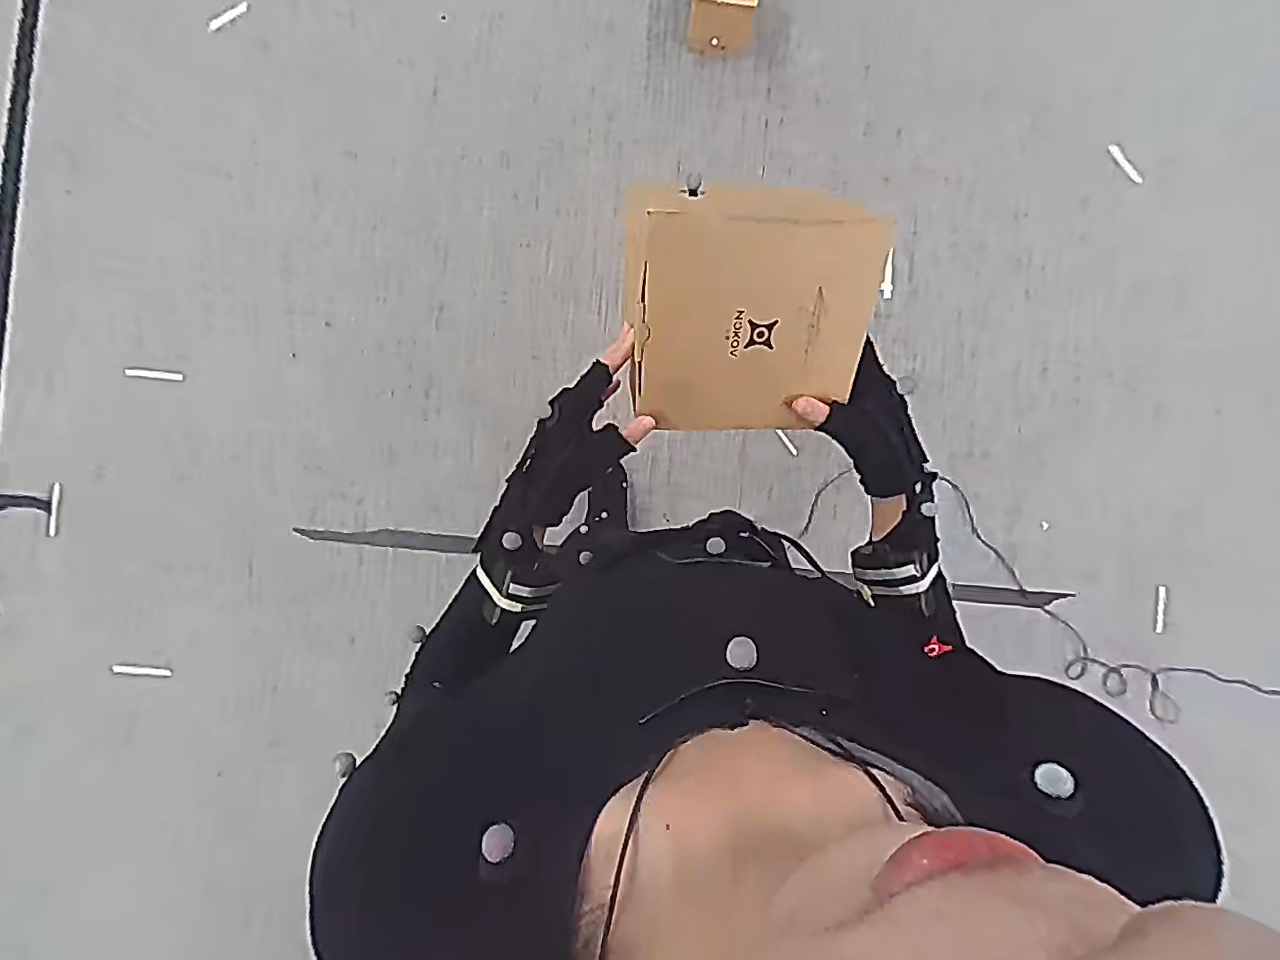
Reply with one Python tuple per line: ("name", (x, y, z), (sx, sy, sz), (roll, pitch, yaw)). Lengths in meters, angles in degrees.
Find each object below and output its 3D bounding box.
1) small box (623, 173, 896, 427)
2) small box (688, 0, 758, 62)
("small box", (0.077, -0.159, 0.468), (0.179, 0.176, 0.168), (-1, 127, -6))
("small box", (0.229, -1.308, 1.485), (0.168, 0.176, 0.179), (7, 90, -2))
